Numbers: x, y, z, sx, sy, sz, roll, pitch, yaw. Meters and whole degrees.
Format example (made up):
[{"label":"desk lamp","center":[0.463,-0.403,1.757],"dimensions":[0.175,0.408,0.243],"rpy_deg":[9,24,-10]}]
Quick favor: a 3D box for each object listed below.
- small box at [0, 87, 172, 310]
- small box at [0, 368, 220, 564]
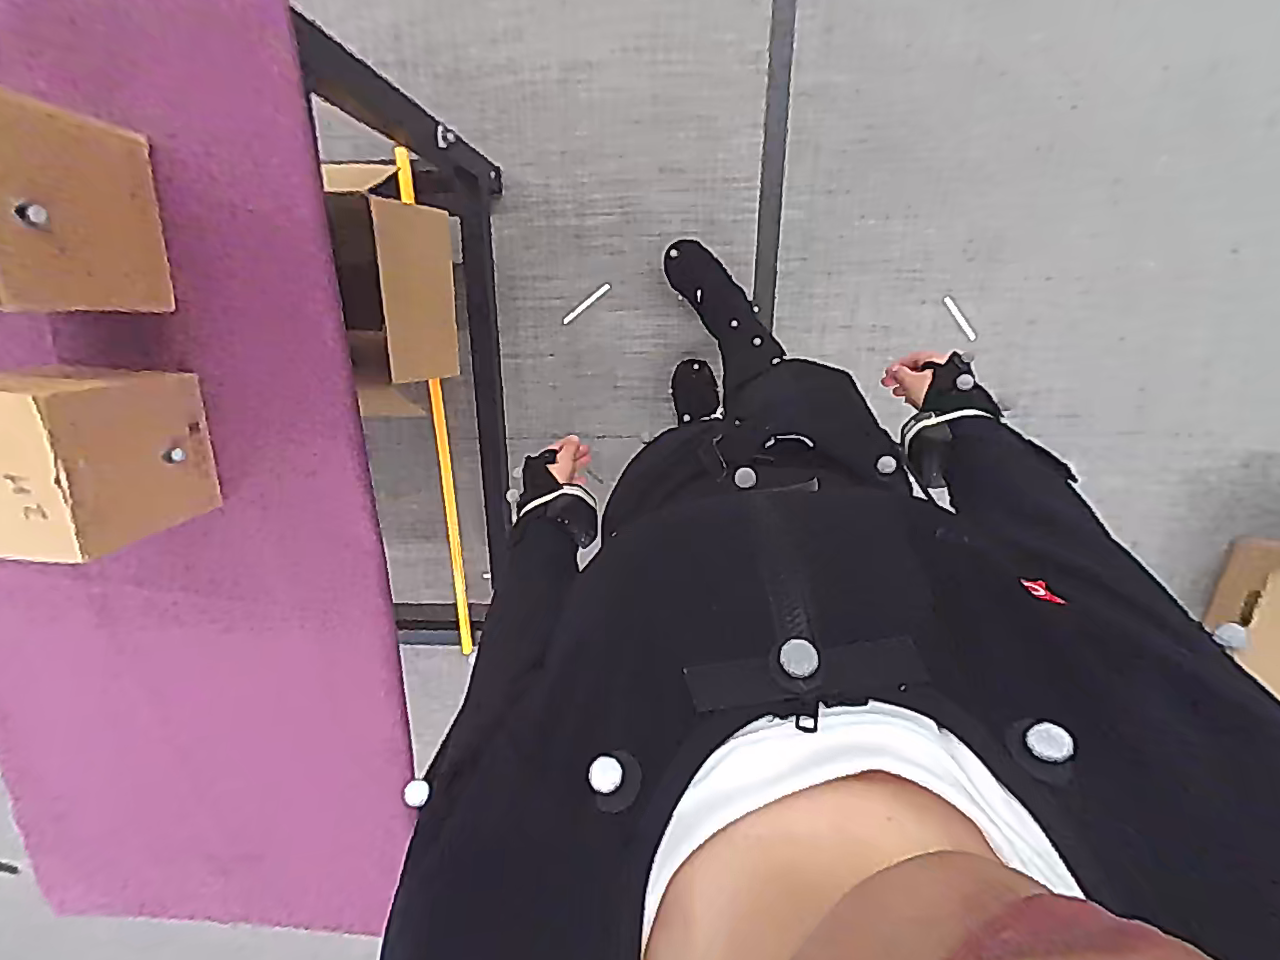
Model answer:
[{"label":"small box","center":[-0.598,-0.257,0.506],"dimensions":[0.168,0.176,0.179],"rpy_deg":[6,108,3]},{"label":"small box","center":[-0.605,-0.027,0.575],"dimensions":[0.179,0.176,0.168],"rpy_deg":[3,108,3]}]
